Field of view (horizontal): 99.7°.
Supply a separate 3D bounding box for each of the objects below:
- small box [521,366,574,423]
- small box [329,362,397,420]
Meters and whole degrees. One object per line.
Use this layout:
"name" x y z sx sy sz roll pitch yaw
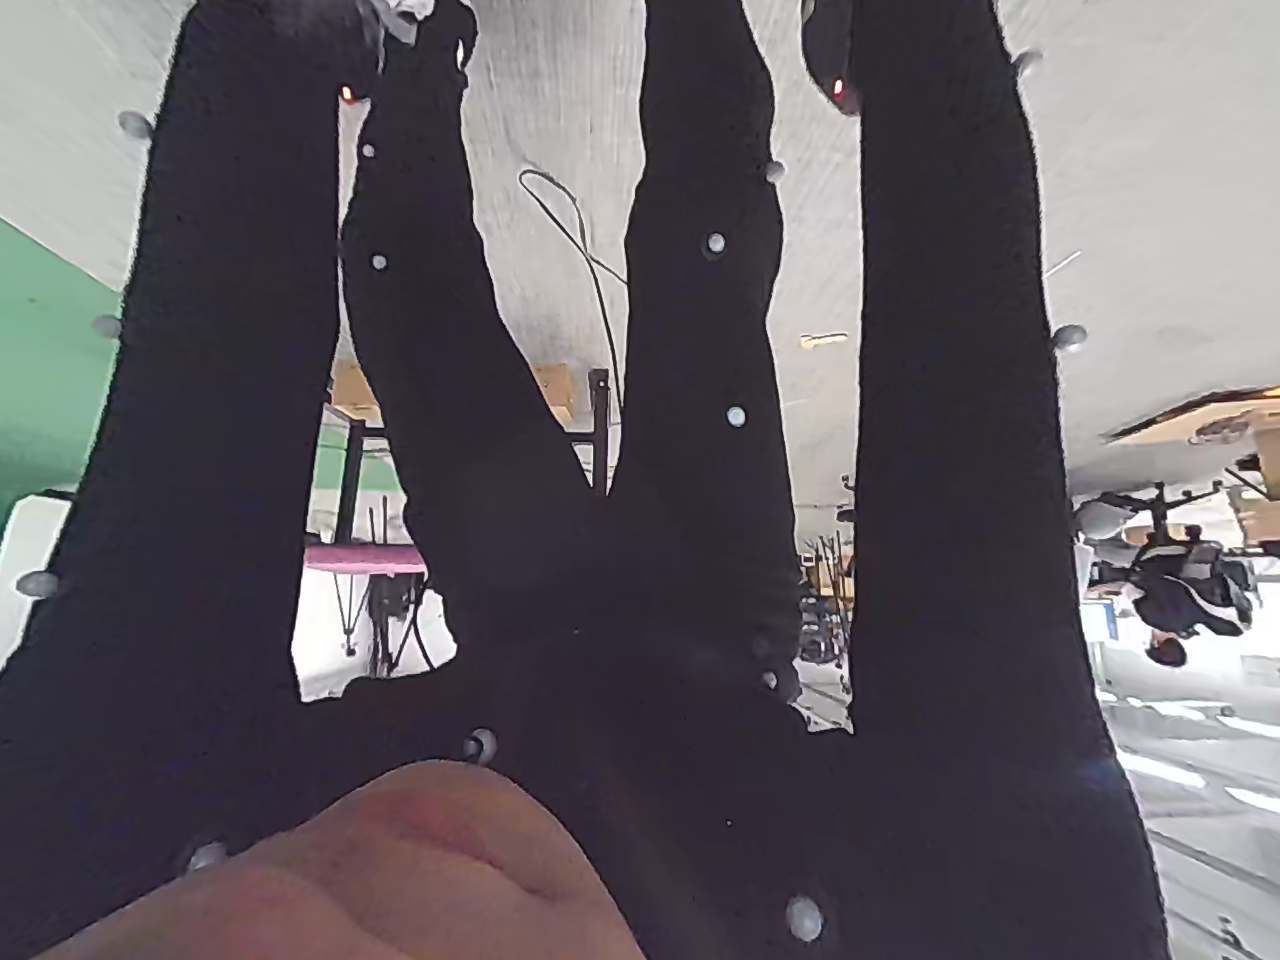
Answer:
"small box" -0.343 -0.323 2.033 0.168 0.176 0.179 -1 168 4
"small box" -1.029 -0.330 2.018 0.168 0.176 0.179 1 169 -1
